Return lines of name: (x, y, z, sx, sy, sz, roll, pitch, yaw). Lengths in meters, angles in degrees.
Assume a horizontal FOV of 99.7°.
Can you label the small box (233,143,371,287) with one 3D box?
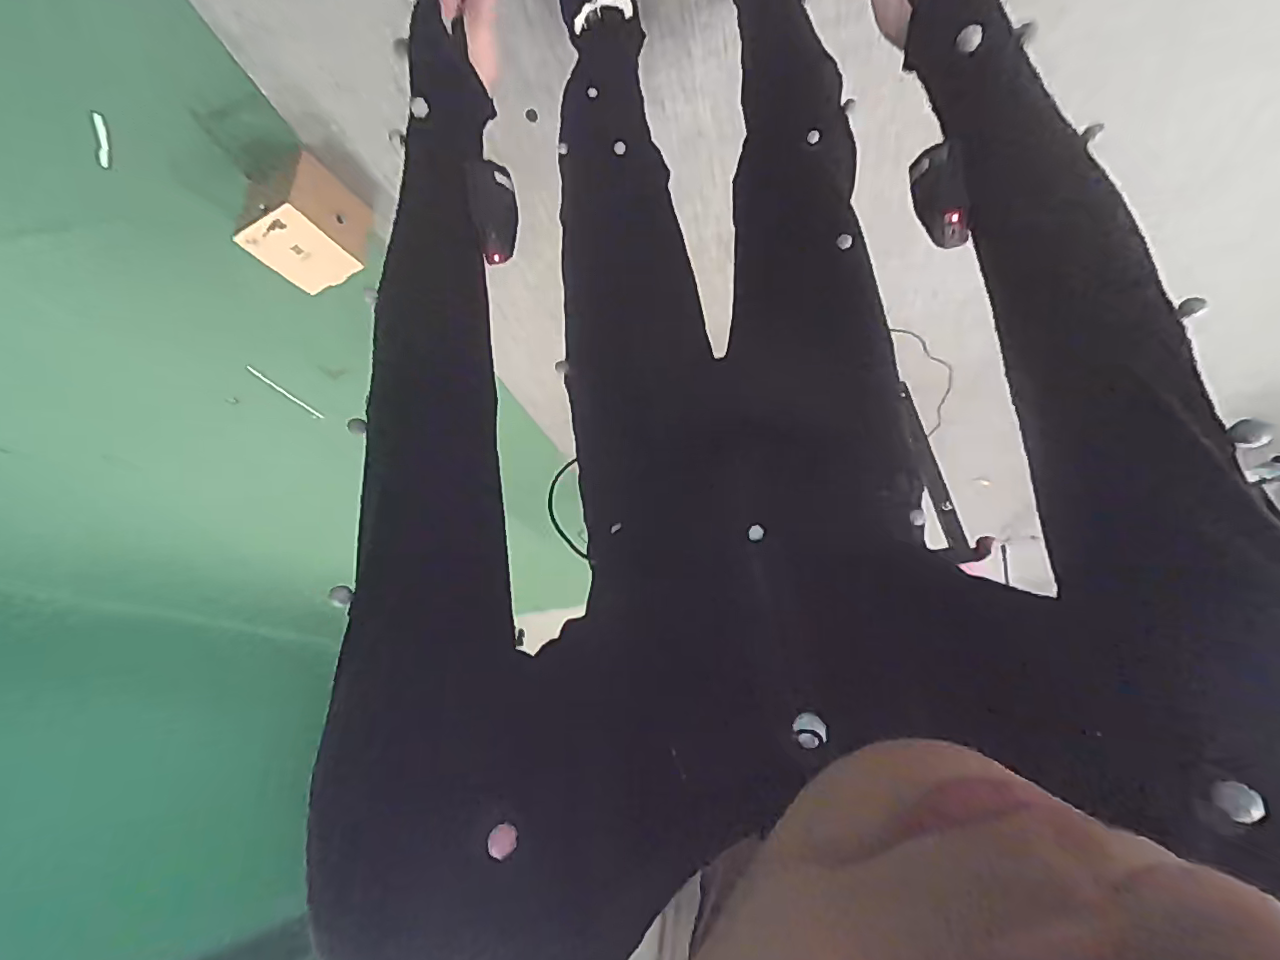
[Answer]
small box: (-0.689, -0.546, 1.123, 0.168, 0.176, 0.179, -16, 153, 20)
